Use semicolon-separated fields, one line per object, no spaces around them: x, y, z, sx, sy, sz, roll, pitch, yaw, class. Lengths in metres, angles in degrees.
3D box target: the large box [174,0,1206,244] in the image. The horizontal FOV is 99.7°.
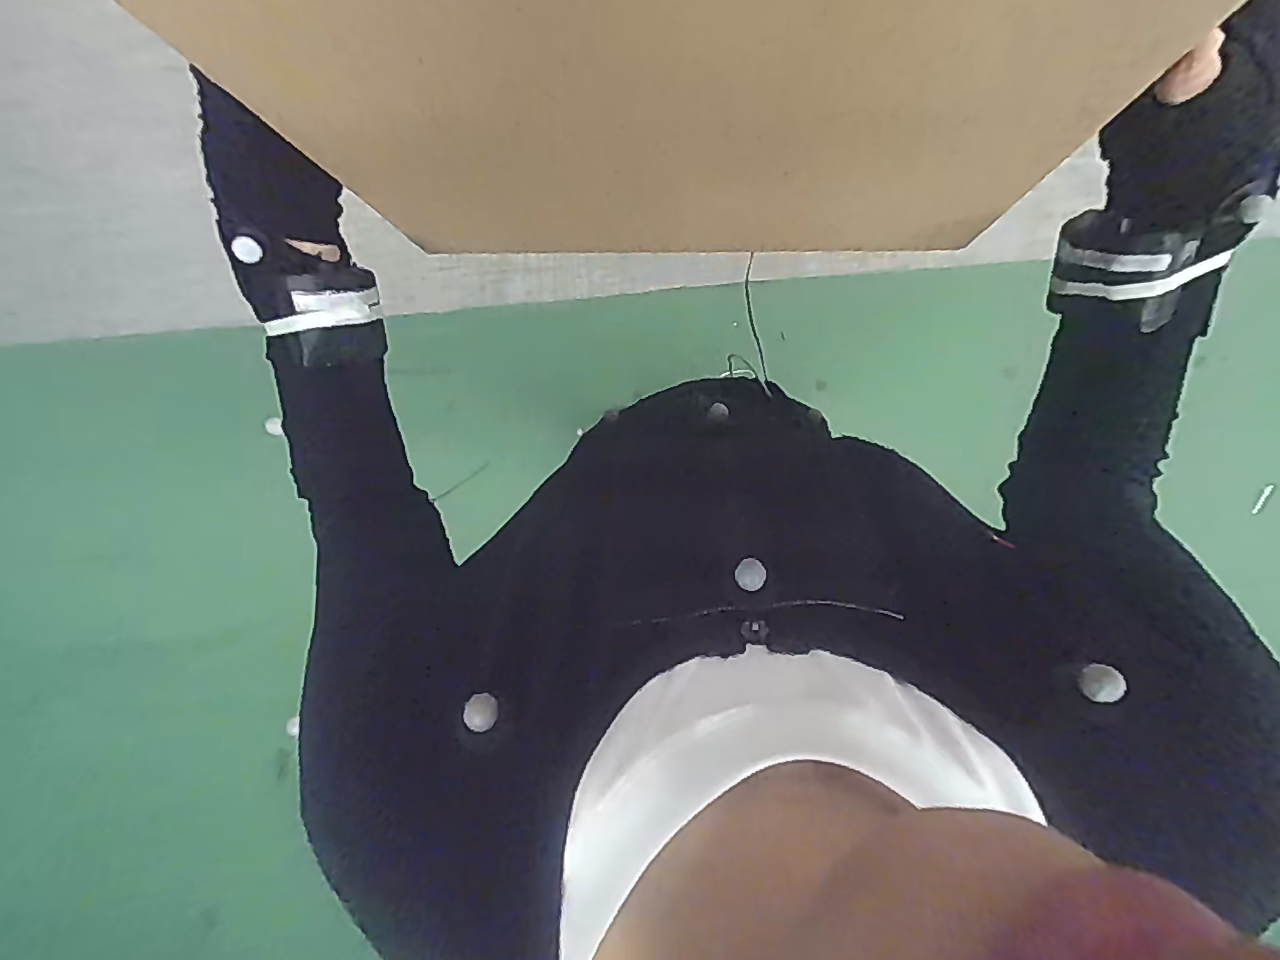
0.022;-0.329;0.253;0.408;0.320;0.320;3;91;6;large box
